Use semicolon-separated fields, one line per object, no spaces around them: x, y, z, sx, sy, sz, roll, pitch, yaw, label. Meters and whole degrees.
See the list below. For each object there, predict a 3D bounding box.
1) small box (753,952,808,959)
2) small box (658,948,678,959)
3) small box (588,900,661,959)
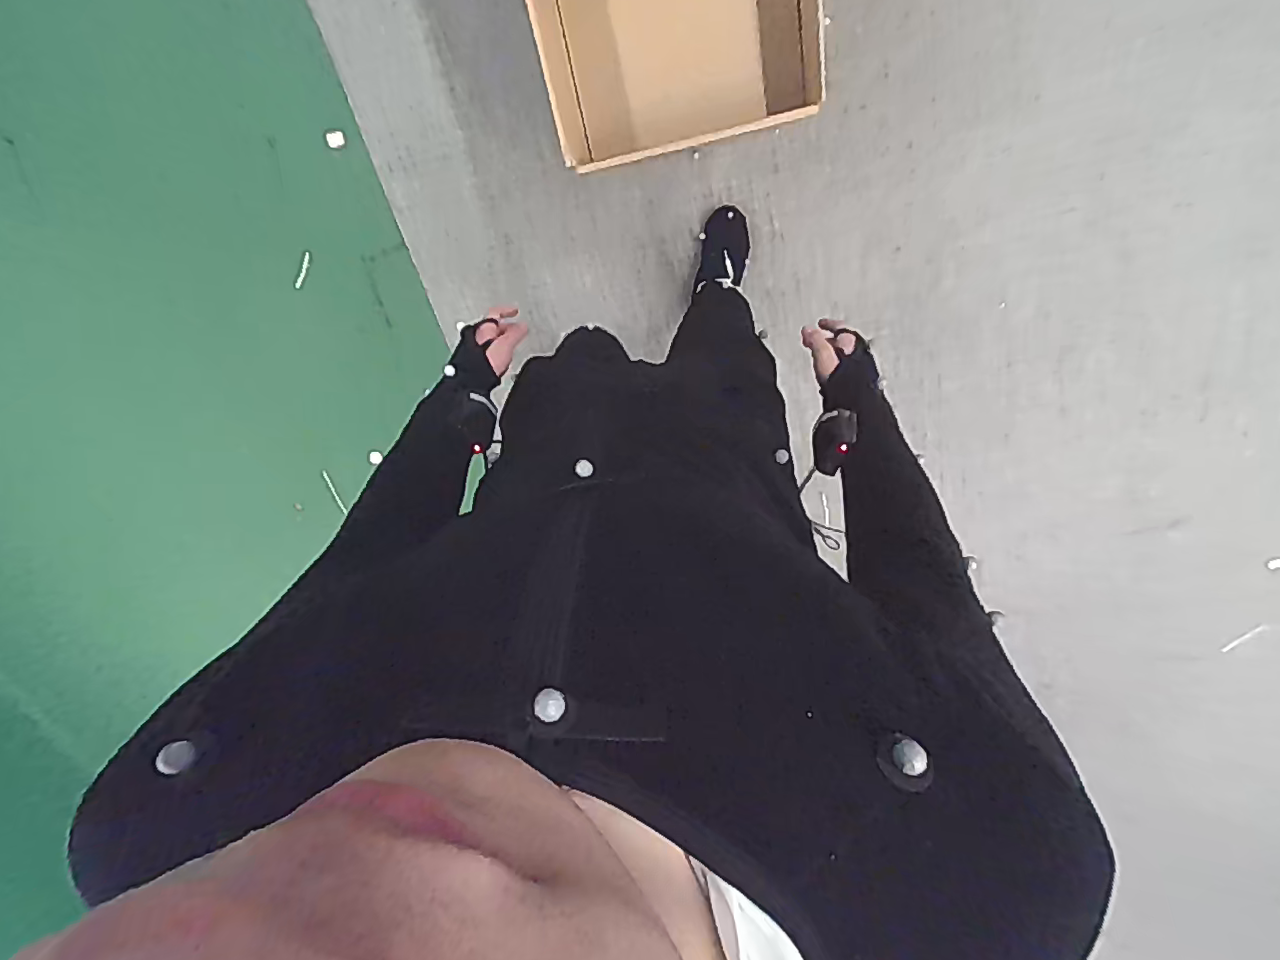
0.434;1.544;1.605;0.168;0.176;0.179;-11;117;15;small box
0.035;1.607;1.704;0.168;0.176;0.179;-10;116;14;small box
-0.040;1.368;1.578;0.168;0.176;0.179;-8;118;12;small box
